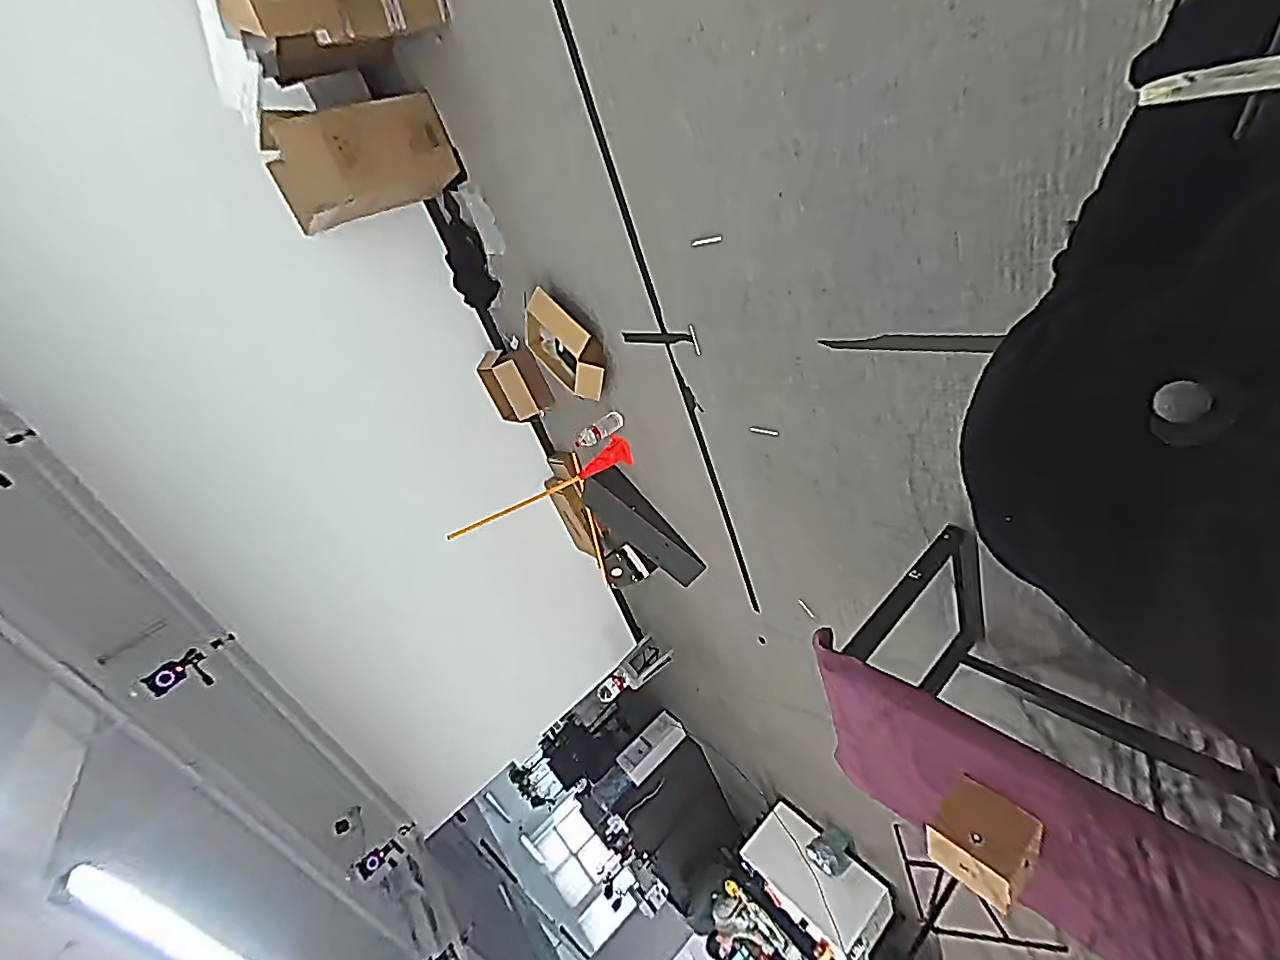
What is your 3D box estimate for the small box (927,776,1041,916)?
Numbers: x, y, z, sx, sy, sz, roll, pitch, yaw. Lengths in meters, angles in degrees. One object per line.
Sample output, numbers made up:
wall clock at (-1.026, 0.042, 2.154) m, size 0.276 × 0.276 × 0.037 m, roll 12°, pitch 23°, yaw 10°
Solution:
small box at (0.798, 0.839, 1.255) m, size 0.179 × 0.176 × 0.168 m, roll 22°, pitch 139°, yaw 50°
